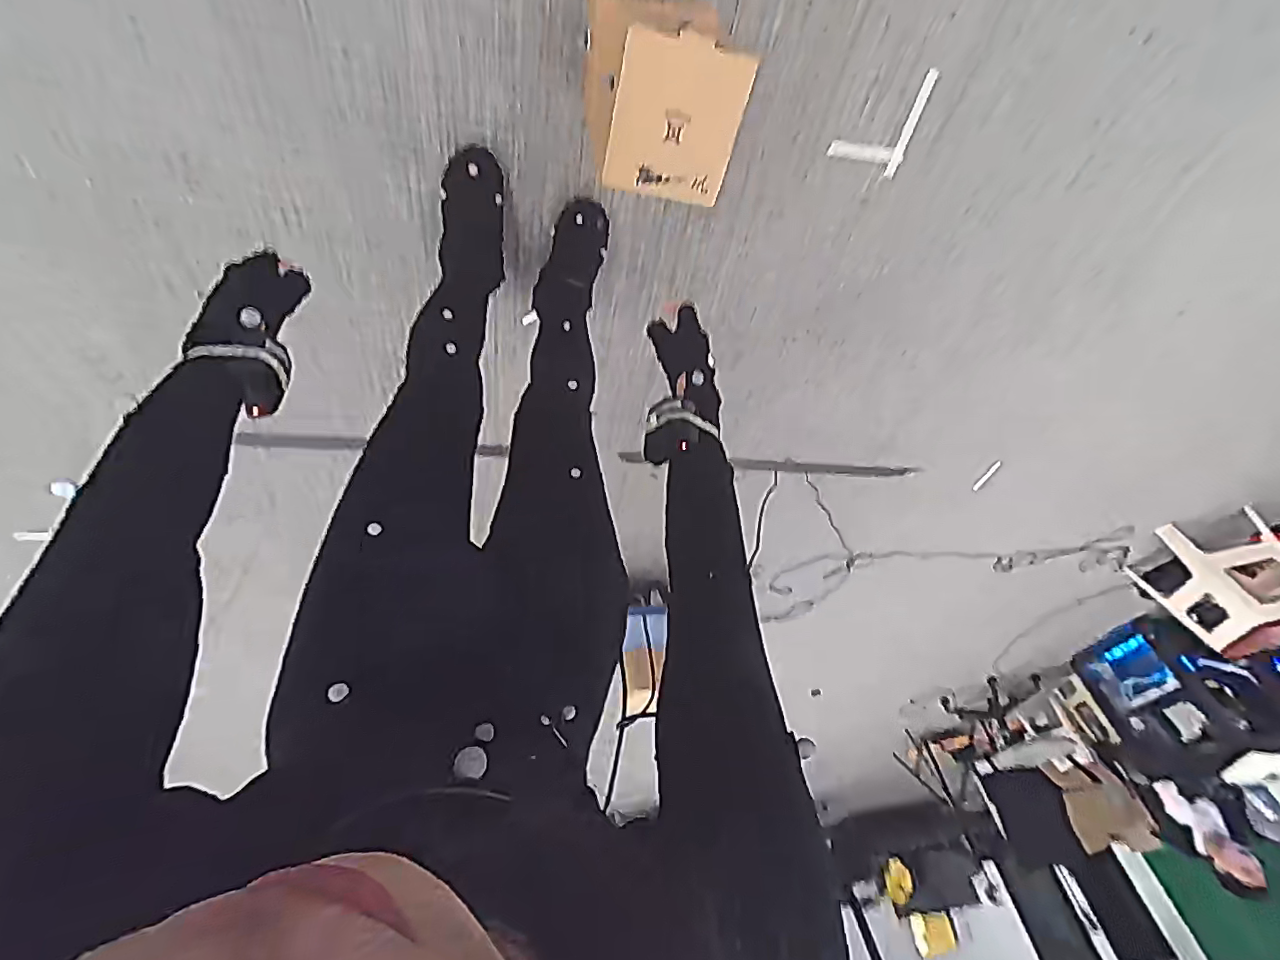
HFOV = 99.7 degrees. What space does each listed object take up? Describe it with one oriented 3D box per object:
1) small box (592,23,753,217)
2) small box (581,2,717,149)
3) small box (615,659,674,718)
[{"bbox_3d":[0.030,-0.501,0.752,0.168,0.176,0.179,4,134,-16],"label":"small box"},{"bbox_3d":[0.003,-0.628,0.852,0.179,0.176,0.168,0,135,-11],"label":"small box"},{"bbox_3d":[0.011,0.814,2.112,0.179,0.176,0.168,11,133,-19],"label":"small box"}]
